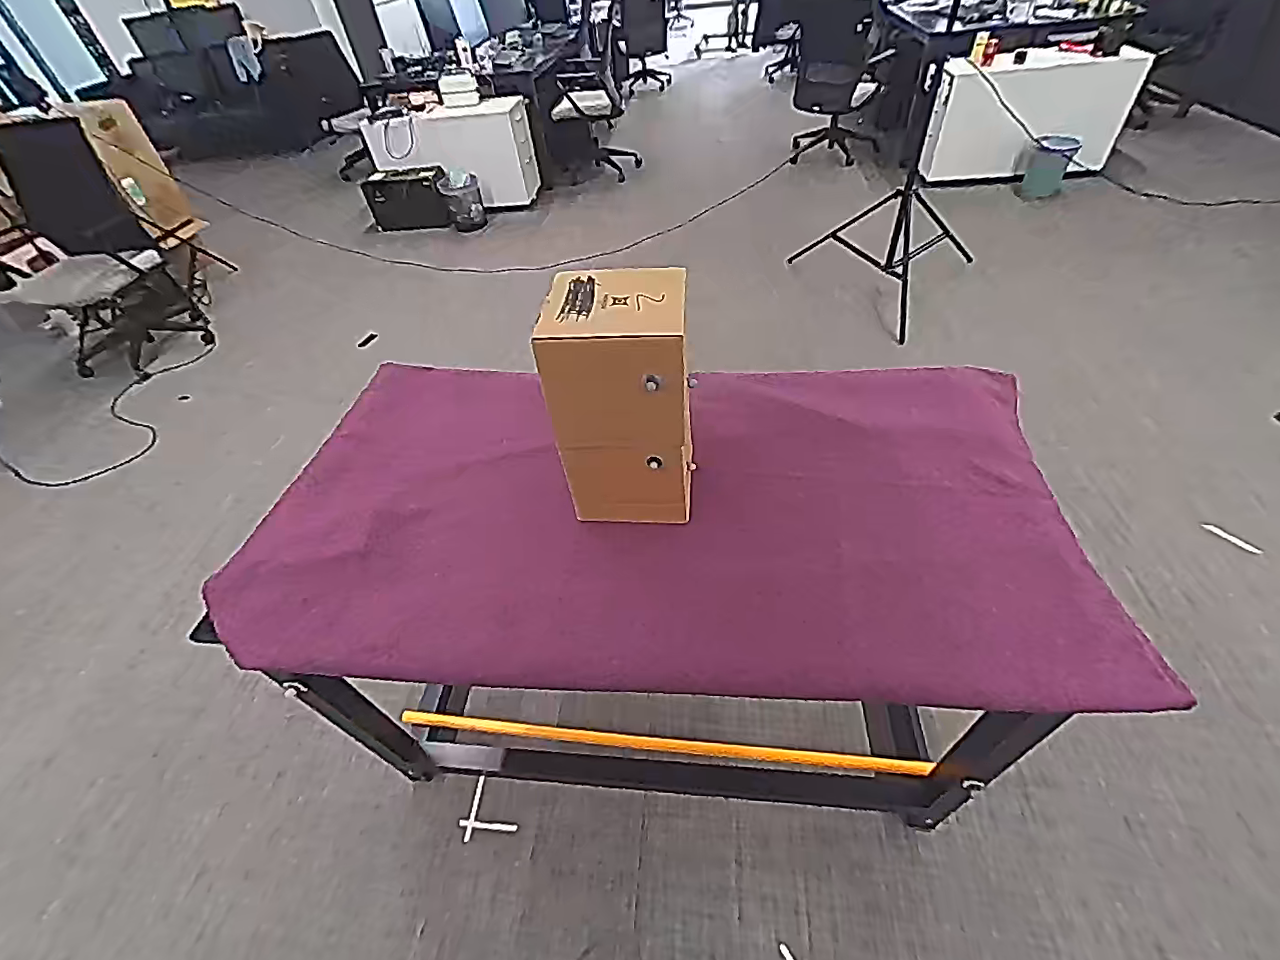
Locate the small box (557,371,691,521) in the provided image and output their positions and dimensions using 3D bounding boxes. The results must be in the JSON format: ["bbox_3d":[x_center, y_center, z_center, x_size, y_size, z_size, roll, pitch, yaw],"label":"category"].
[{"bbox_3d":[-0.013,-0.051,0.835,0.179,0.176,0.168,1,46,7],"label":"small box"}]
